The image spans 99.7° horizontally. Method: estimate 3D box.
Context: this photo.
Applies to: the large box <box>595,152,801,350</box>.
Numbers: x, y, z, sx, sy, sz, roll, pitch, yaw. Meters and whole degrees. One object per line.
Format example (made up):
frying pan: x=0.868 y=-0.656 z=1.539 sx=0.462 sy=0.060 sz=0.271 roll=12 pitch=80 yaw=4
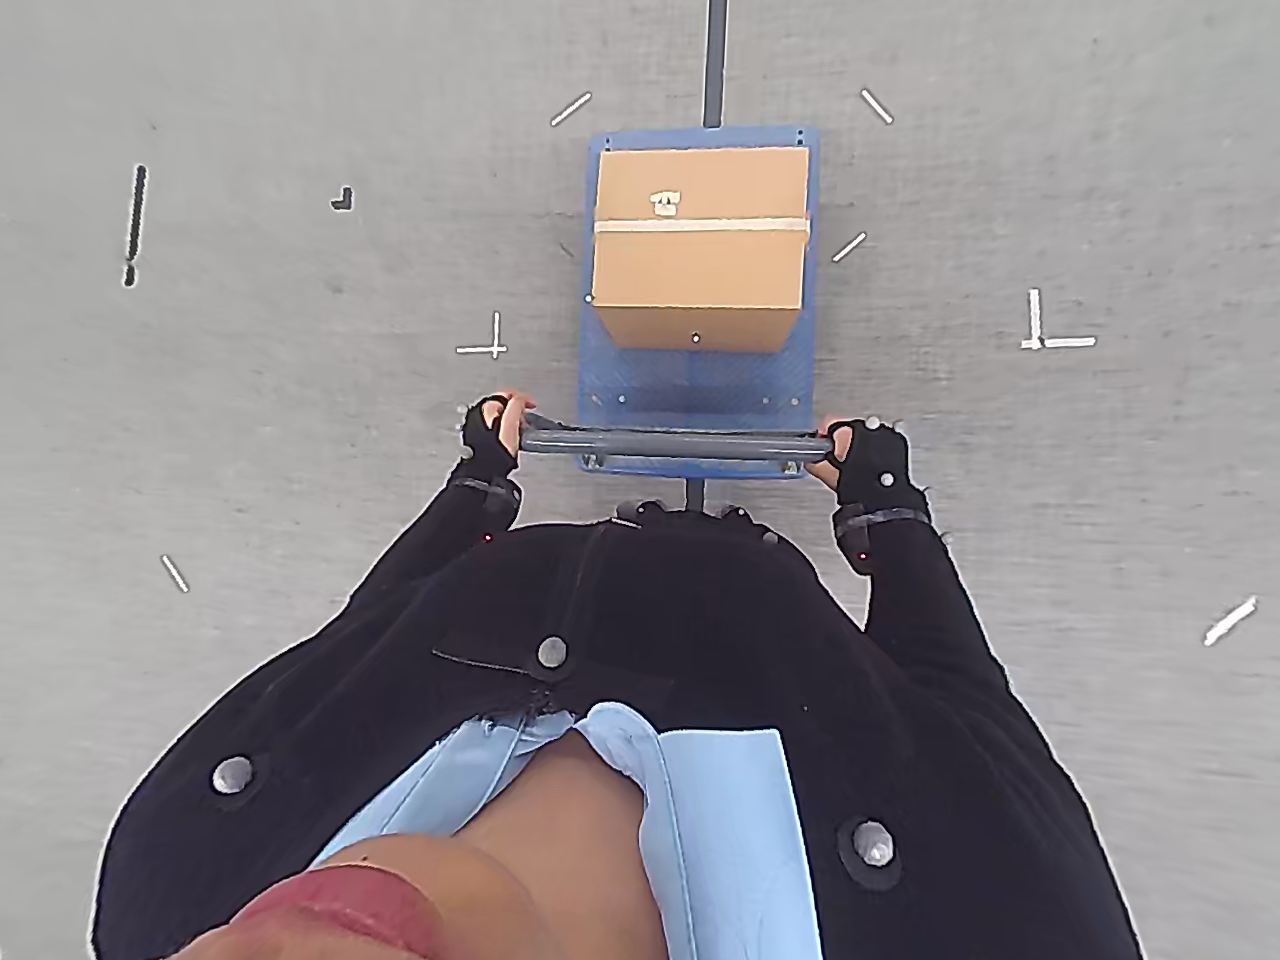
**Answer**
large box: x=0.133 y=-0.482 z=1.212 sx=0.408 sy=0.320 sz=0.320 roll=3 pitch=87 yaw=8
